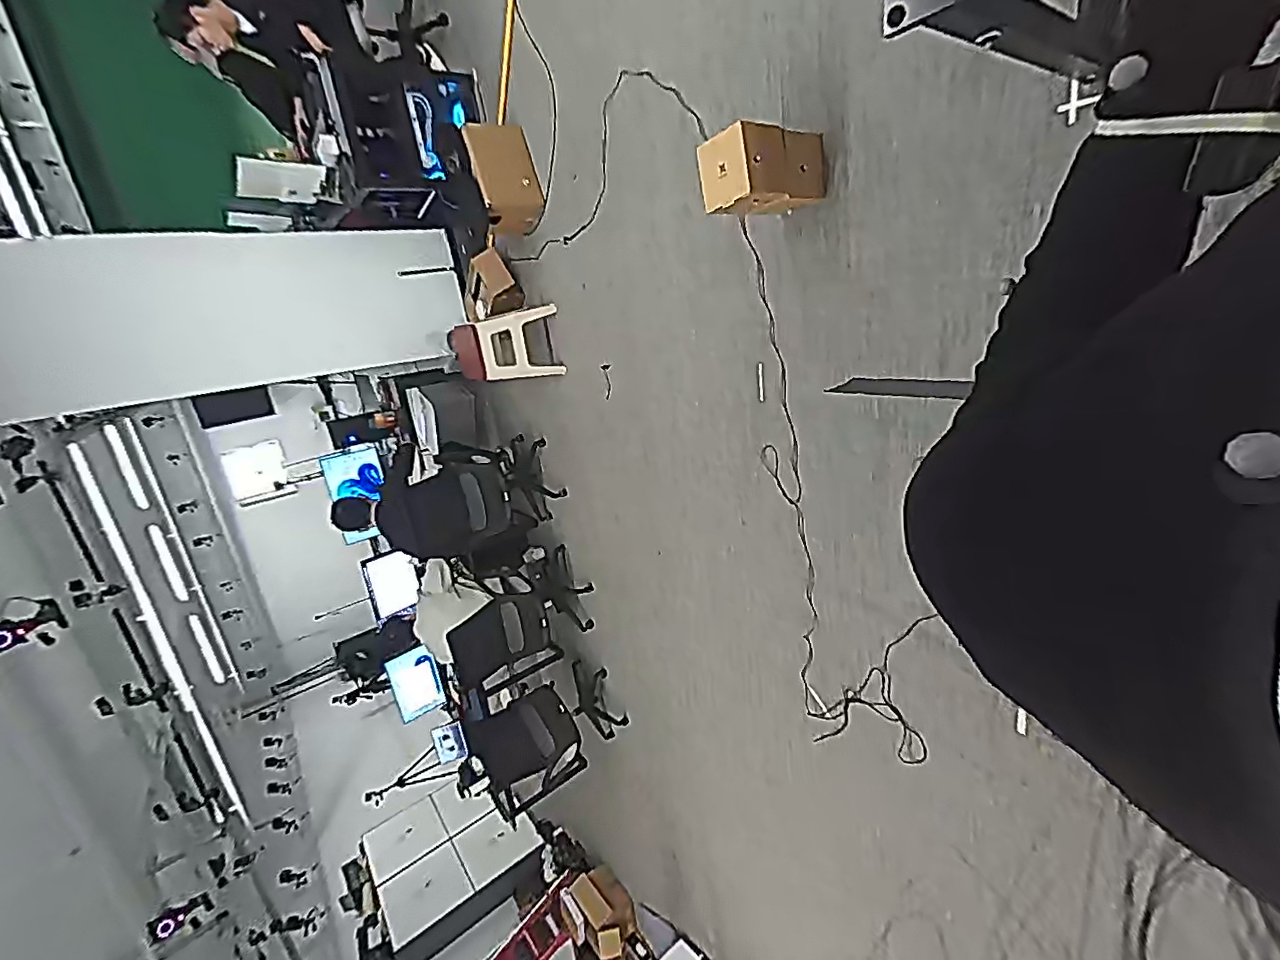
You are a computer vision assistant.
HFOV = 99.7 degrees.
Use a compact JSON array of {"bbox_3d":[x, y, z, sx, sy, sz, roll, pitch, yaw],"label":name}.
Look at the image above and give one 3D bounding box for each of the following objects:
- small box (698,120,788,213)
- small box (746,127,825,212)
[{"bbox_3d":[0.285,-0.850,1.478,0.168,0.176,0.179,6,110,53],"label":"small box"},{"bbox_3d":[0.415,-0.890,1.568,0.168,0.176,0.179,11,116,53],"label":"small box"}]
